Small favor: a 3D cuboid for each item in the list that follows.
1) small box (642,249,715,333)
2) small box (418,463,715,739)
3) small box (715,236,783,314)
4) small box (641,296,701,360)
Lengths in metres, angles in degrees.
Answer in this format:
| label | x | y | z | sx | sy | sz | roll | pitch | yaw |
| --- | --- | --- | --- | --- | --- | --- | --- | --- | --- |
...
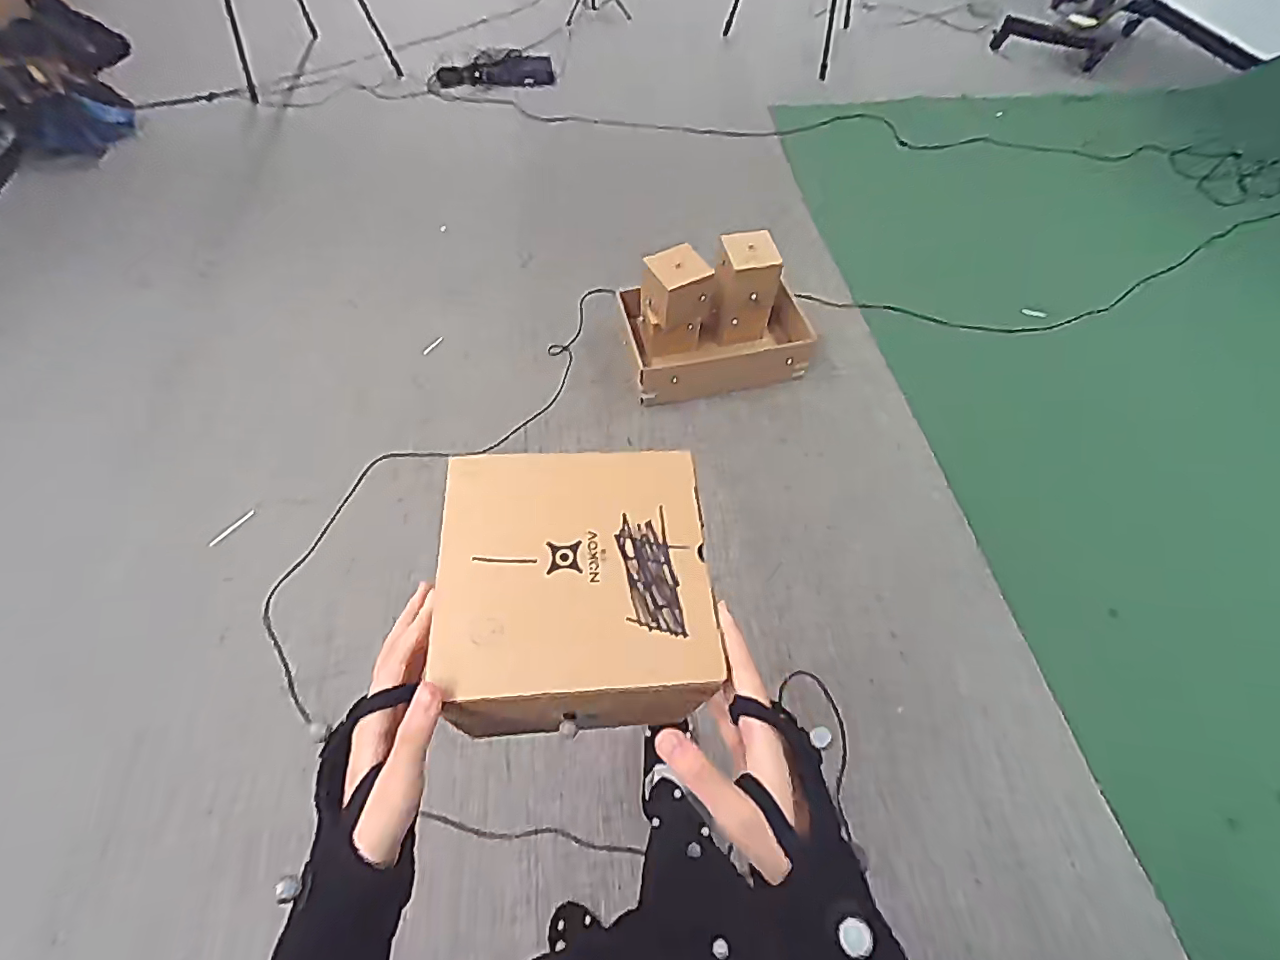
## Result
| label | x | y | z | sx | sy | sz | roll | pitch | yaw |
| --- | --- | --- | --- | --- | --- | --- | --- | --- | --- |
| small box | 0.119 | -0.615 | 1.769 | 0.179 | 0.176 | 0.168 | -25 | 63 | -16 |
| small box | -0.053 | 0.100 | 0.423 | 0.179 | 0.176 | 0.168 | -1 | 58 | -7 |
| small box | 0.358 | -0.684 | 1.811 | 0.168 | 0.176 | 0.179 | -10 | 60 | -6 |
| small box | 0.104 | -0.544 | 1.915 | 0.179 | 0.176 | 0.168 | -10 | 60 | -8 |
